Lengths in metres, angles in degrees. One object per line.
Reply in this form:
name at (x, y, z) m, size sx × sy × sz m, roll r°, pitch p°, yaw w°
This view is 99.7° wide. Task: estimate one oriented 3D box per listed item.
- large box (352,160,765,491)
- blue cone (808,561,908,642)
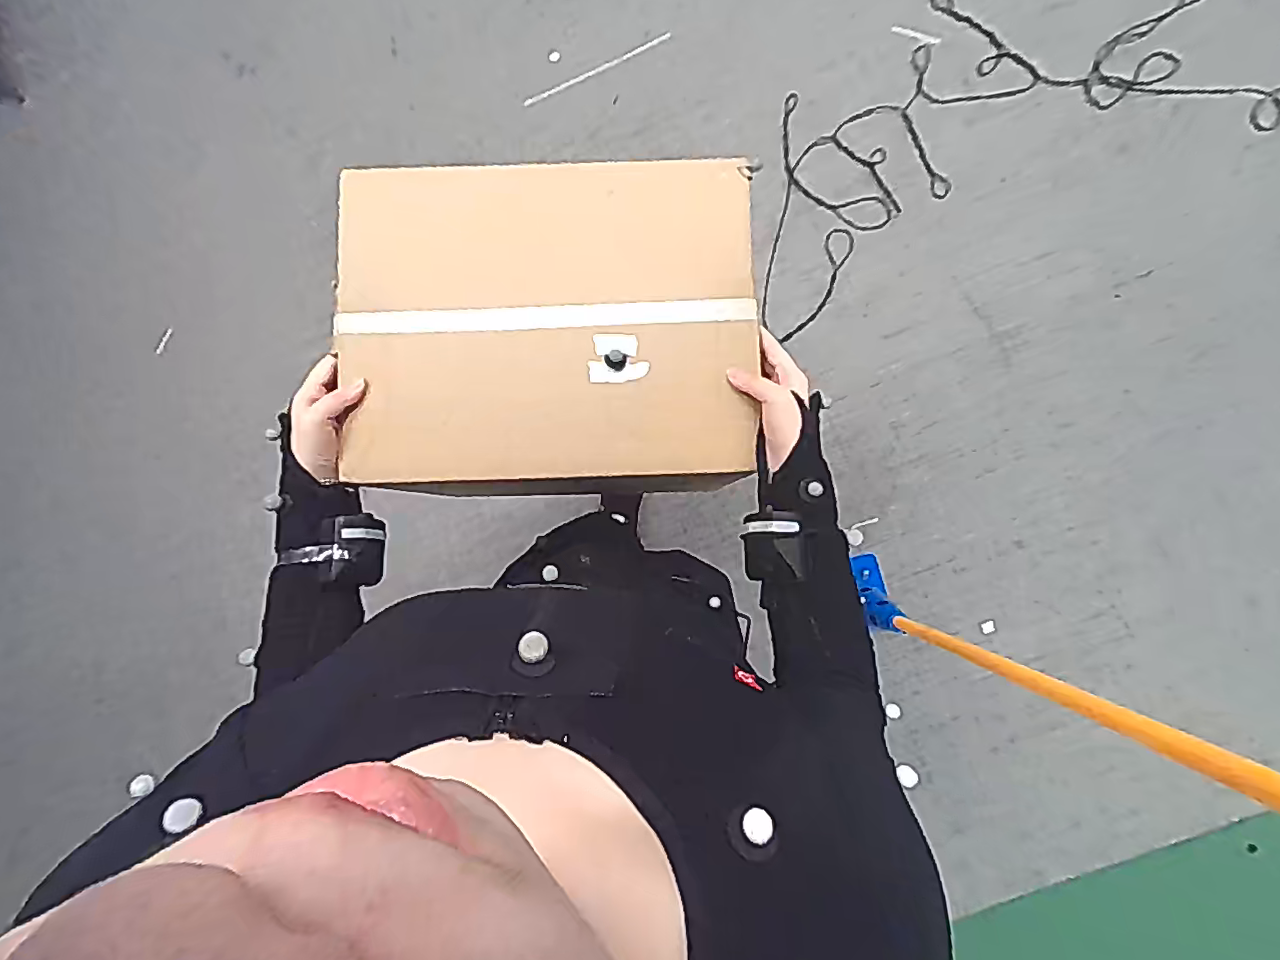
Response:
large box at (-0.085, -0.155, 0.680) m, size 0.408 × 0.320 × 0.320 m, roll -1°, pitch 86°, yaw -1°
blue cone at (0.538, 0.310, 1.274) m, size 0.193 × 0.380 × 0.192 m, roll -13°, pitch 85°, yaw 4°
